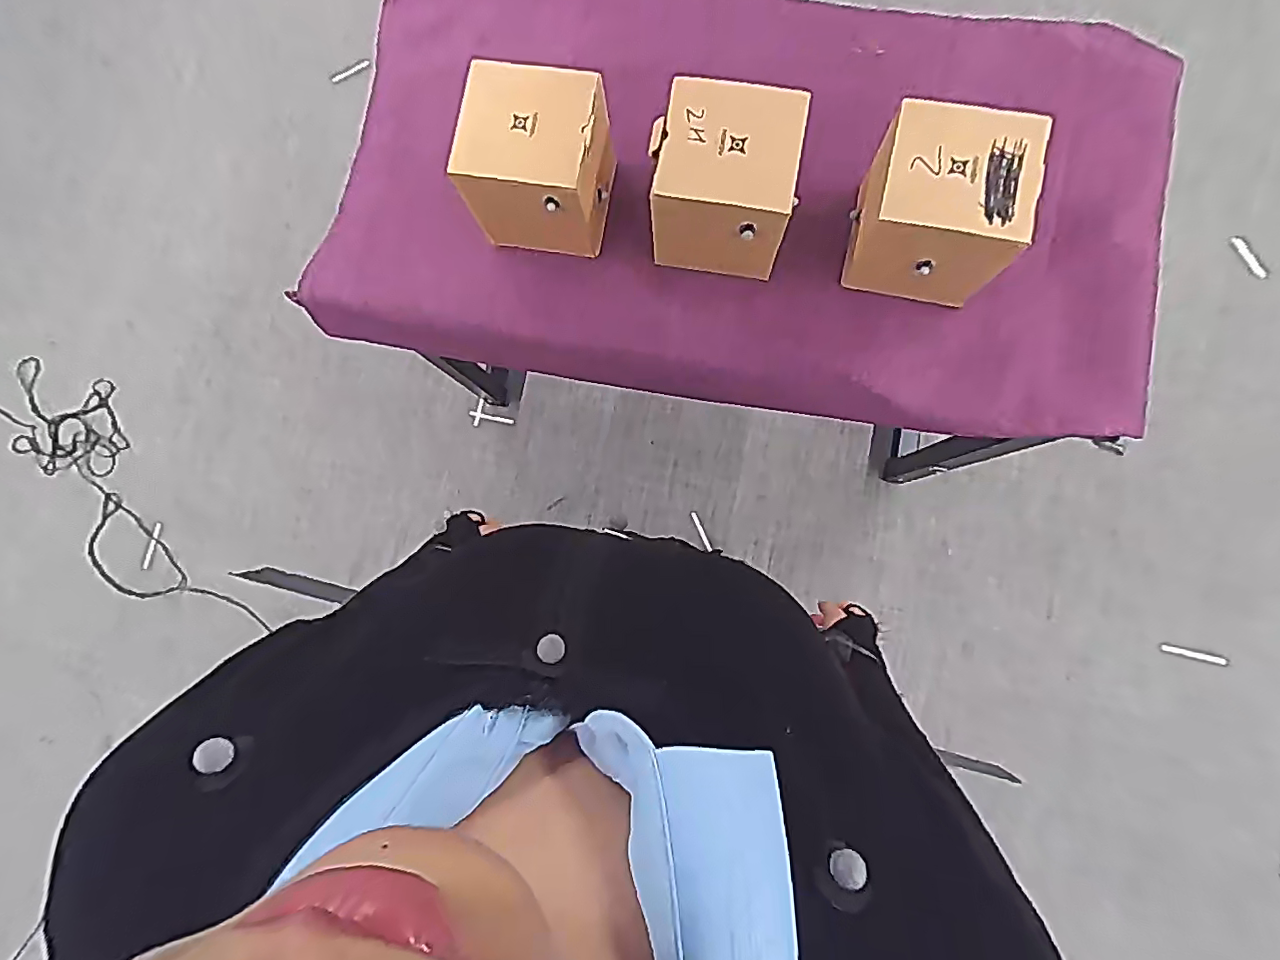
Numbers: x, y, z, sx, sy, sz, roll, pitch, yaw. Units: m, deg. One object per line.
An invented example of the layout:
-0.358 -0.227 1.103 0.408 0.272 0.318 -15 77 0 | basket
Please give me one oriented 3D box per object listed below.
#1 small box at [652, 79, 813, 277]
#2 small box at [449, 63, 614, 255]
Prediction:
0.120 -0.402 0.748 0.179 0.176 0.168 10 83 6 | small box
-0.142 -0.445 0.773 0.179 0.176 0.168 9 84 4 | small box
